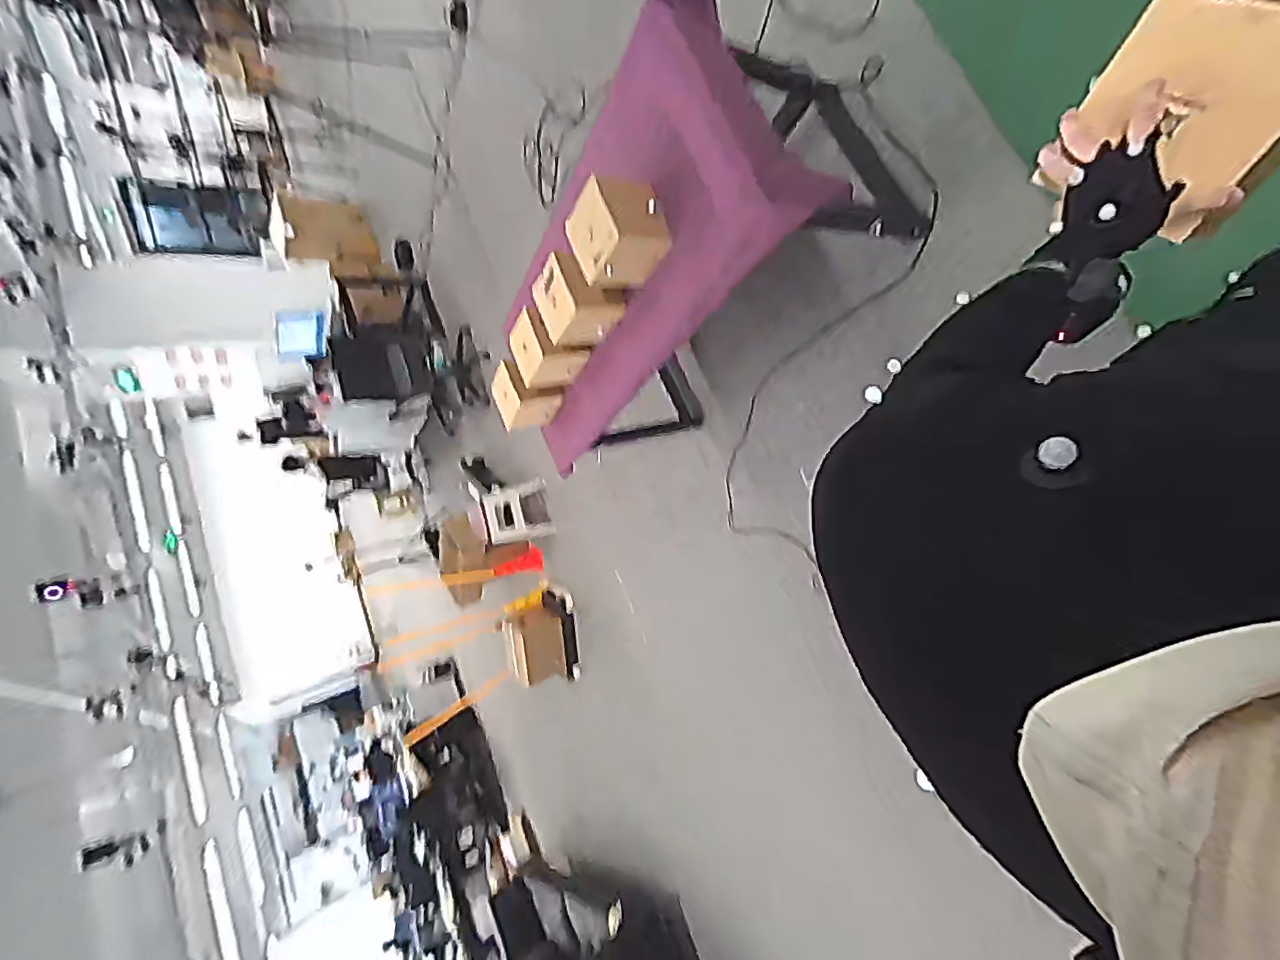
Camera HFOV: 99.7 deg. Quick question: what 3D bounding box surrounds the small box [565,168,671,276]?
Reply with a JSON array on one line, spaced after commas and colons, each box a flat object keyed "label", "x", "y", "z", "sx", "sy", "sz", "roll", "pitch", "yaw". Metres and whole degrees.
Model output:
[{"label": "small box", "x": -0.055, "y": -0.618, "z": 1.318, "sx": 0.168, "sy": 0.176, "sz": 0.179, "roll": -36, "pitch": 73, "yaw": 53}]

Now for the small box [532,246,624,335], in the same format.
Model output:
[{"label": "small box", "x": -0.174, "y": -0.525, "z": 1.511, "sx": 0.168, "sy": 0.176, "sz": 0.179, "roll": -34, "pitch": 75, "yaw": 53}]

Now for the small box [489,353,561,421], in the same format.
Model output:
[{"label": "small box", "x": -0.403, "y": -0.328, "z": 1.889, "sx": 0.168, "sy": 0.176, "sz": 0.179, "roll": -45, "pitch": 66, "yaw": 51}]

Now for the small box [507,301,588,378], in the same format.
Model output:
[{"label": "small box", "x": -0.291, "y": -0.441, "z": 1.697, "sx": 0.168, "sy": 0.176, "sz": 0.179, "roll": -37, "pitch": 72, "yaw": 52}]

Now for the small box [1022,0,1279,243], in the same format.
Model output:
[{"label": "small box", "x": 0.573, "y": -0.374, "z": 0.580, "sx": 0.168, "sy": 0.176, "sz": 0.179, "roll": 47, "pitch": 137, "yaw": 29}]
